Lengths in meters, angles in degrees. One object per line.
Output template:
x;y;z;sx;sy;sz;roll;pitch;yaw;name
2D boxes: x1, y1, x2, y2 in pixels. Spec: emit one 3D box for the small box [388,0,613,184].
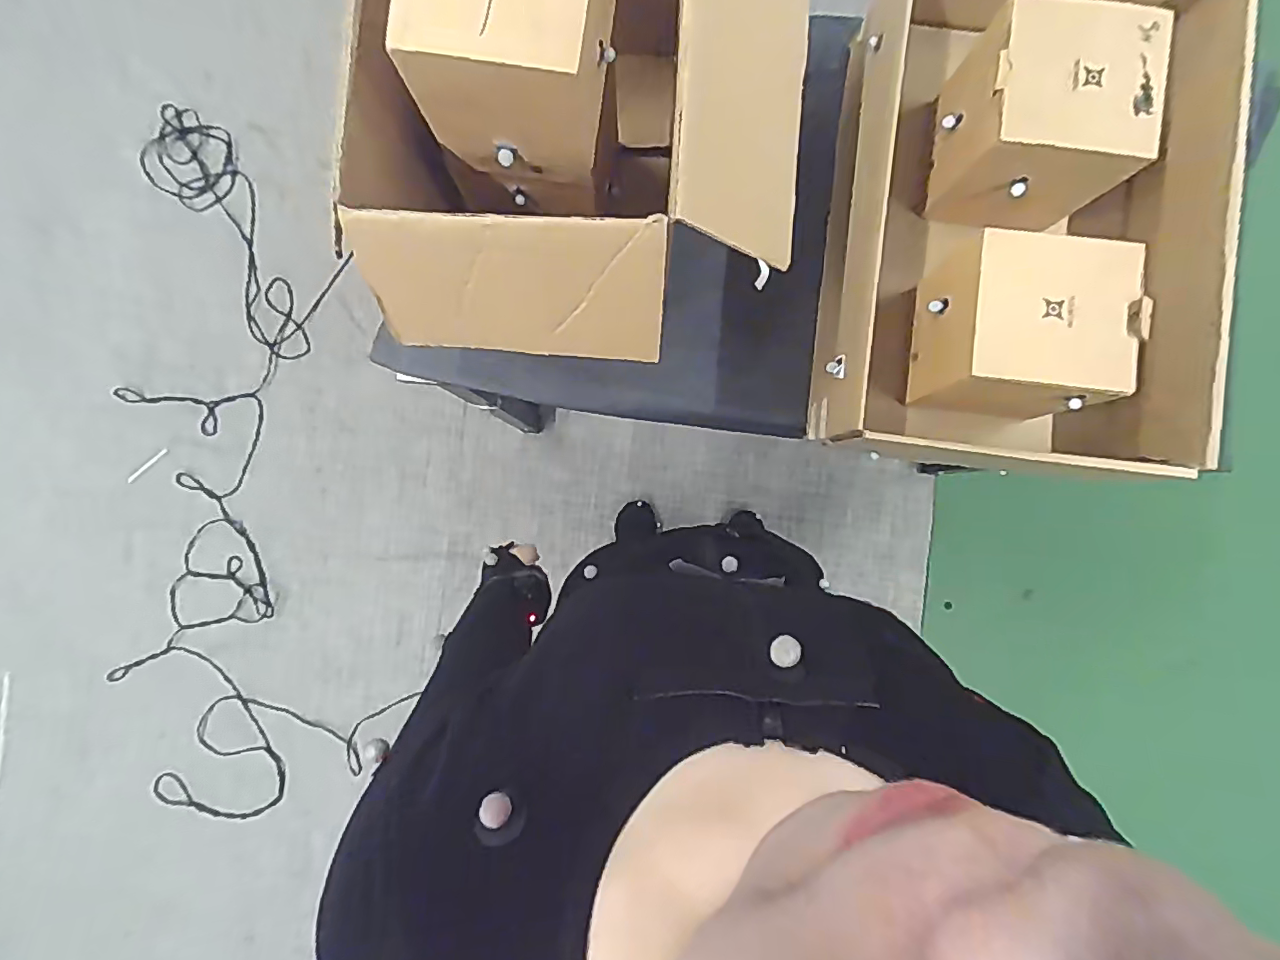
-0.120;-0.433;0.535;0.168;0.176;0.179;8;90;0;small box
